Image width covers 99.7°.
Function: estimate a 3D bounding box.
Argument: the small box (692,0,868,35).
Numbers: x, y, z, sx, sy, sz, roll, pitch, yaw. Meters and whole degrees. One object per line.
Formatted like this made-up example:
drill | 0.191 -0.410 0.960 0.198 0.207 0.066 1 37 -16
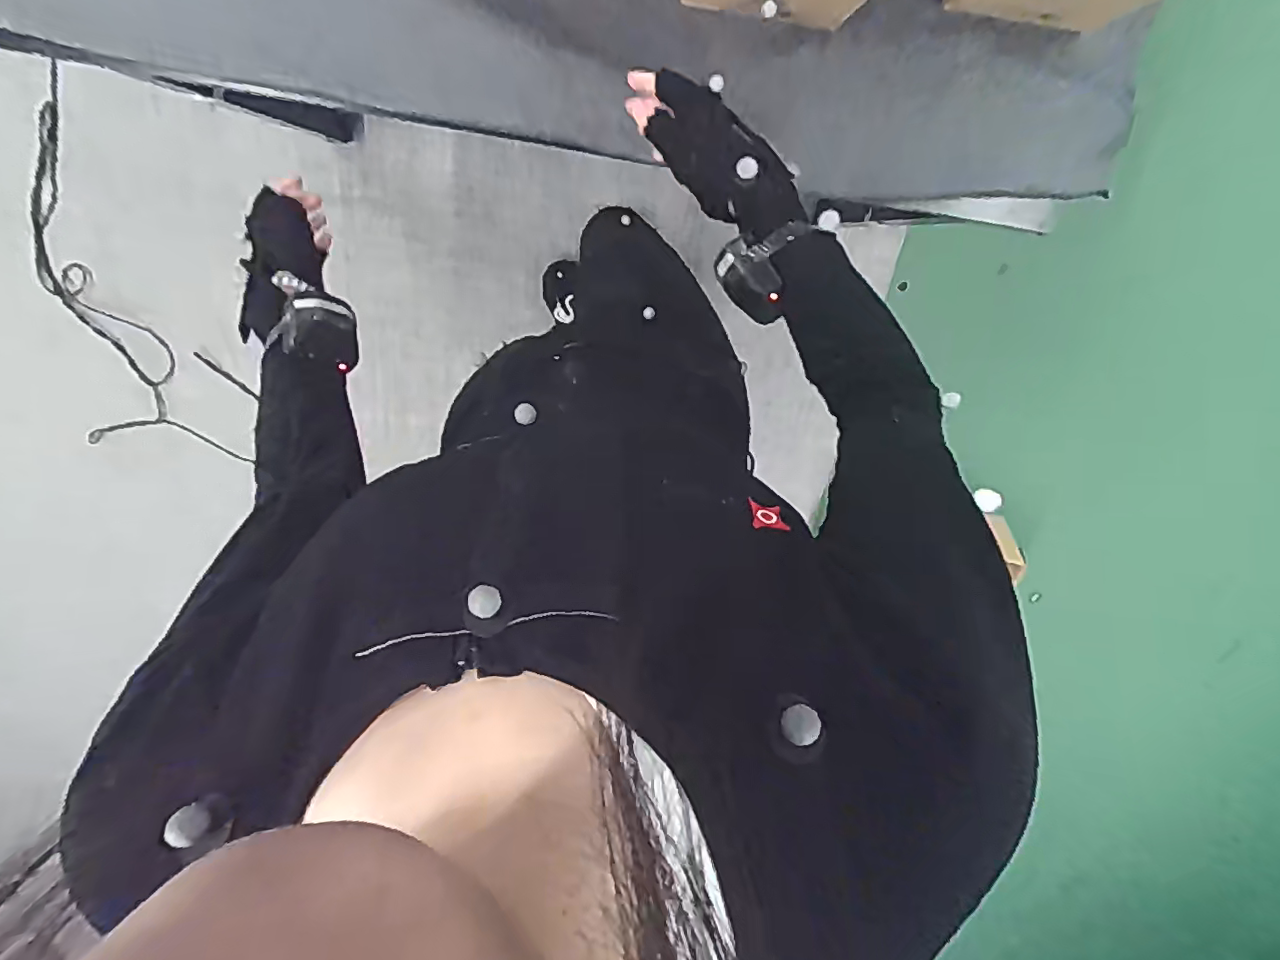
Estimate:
small box | 0.137 -0.518 0.449 0.168 0.176 0.179 5 113 -5
